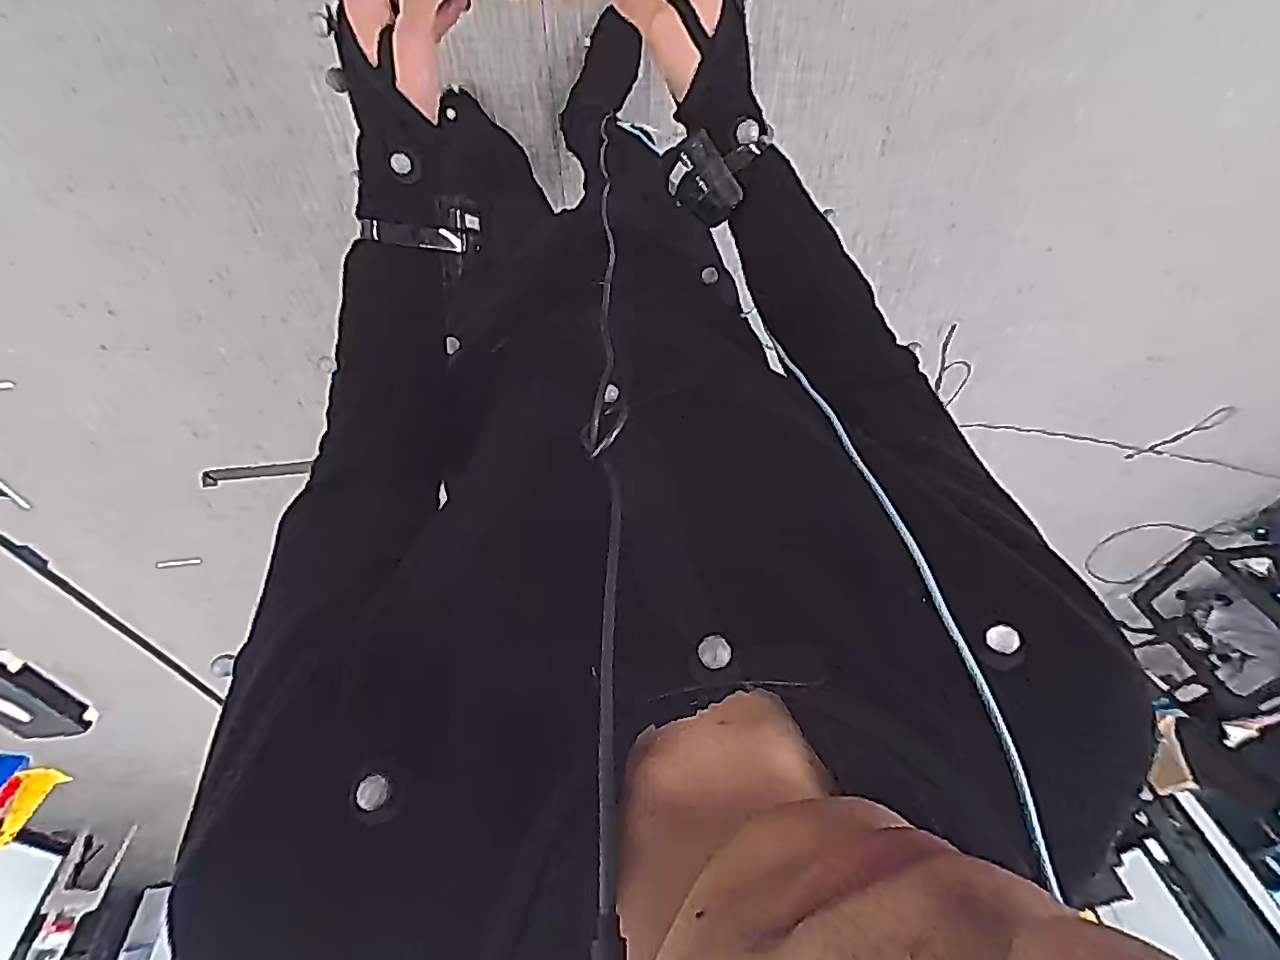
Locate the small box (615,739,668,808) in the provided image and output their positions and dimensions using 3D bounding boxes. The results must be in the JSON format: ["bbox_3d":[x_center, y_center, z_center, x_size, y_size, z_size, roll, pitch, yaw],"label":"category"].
[{"bbox_3d":[-0.001,1.027,1.907,0.168,0.176,0.179,-3,134,-7],"label":"small box"}]
